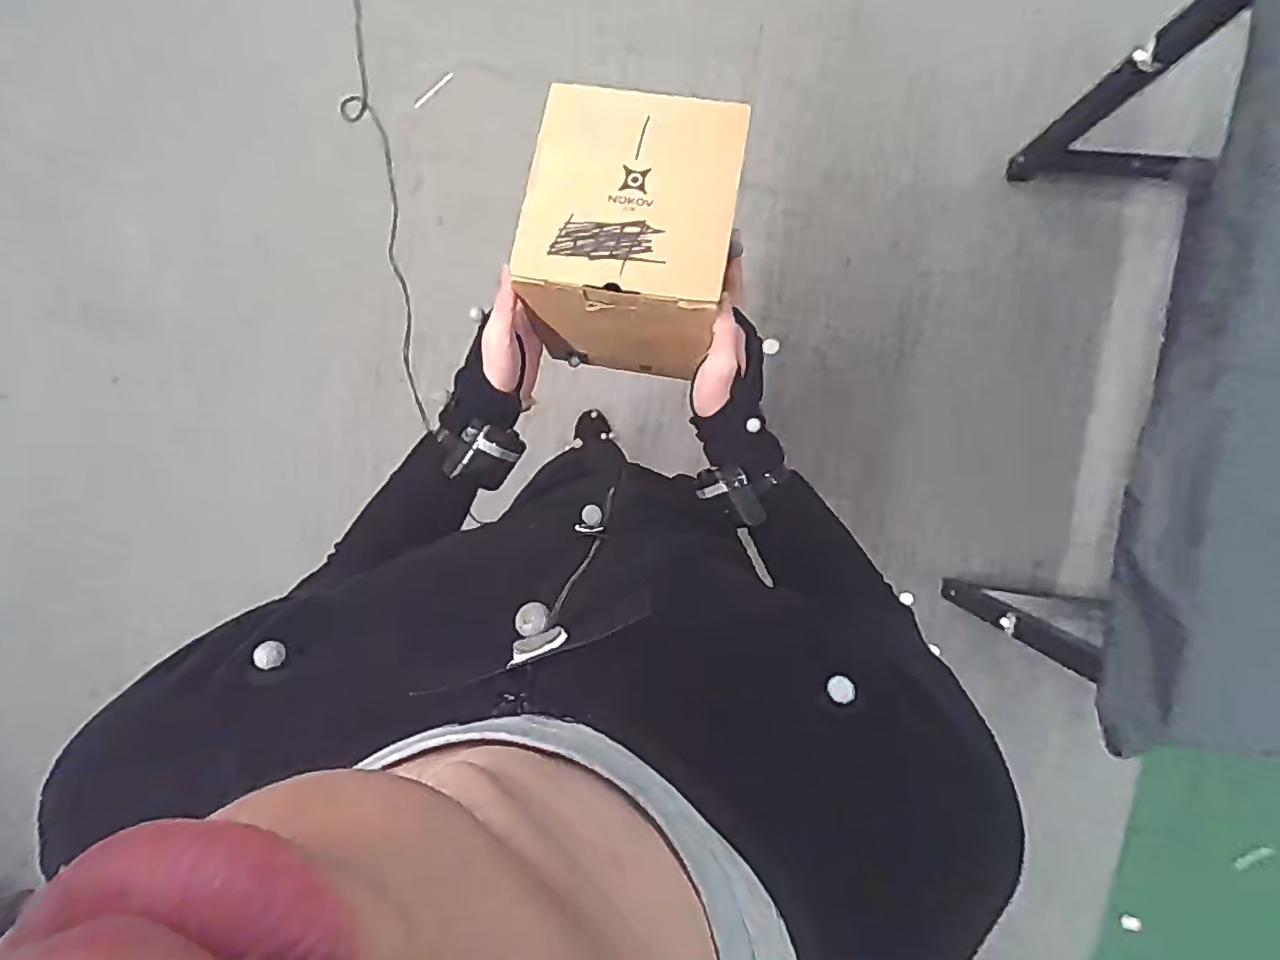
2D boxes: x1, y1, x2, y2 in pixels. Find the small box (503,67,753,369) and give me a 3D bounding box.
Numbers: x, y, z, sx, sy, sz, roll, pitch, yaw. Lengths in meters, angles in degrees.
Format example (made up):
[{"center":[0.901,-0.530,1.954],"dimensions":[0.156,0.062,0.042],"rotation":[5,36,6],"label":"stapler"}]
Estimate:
[{"center":[-0.003,-0.218,0.490],"dimensions":[0.168,0.176,0.179],"rotation":[11,81,5],"label":"small box"}]
